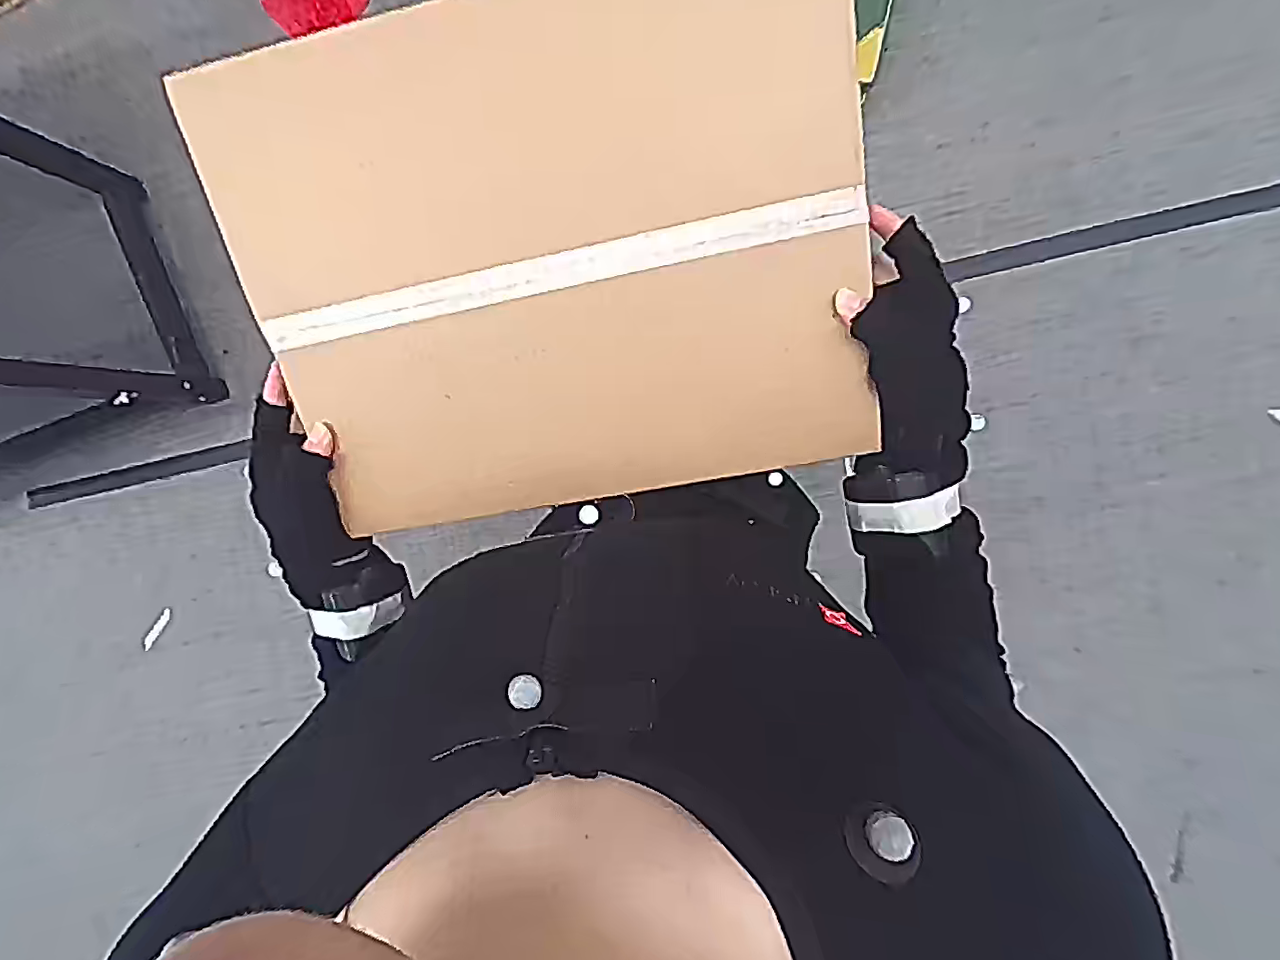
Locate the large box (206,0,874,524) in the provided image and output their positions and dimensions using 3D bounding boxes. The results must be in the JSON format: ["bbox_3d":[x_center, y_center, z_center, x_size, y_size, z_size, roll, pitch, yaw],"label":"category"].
[{"bbox_3d":[-0.048,-0.186,0.504,0.408,0.320,0.320,-9,109,7],"label":"large box"}]
